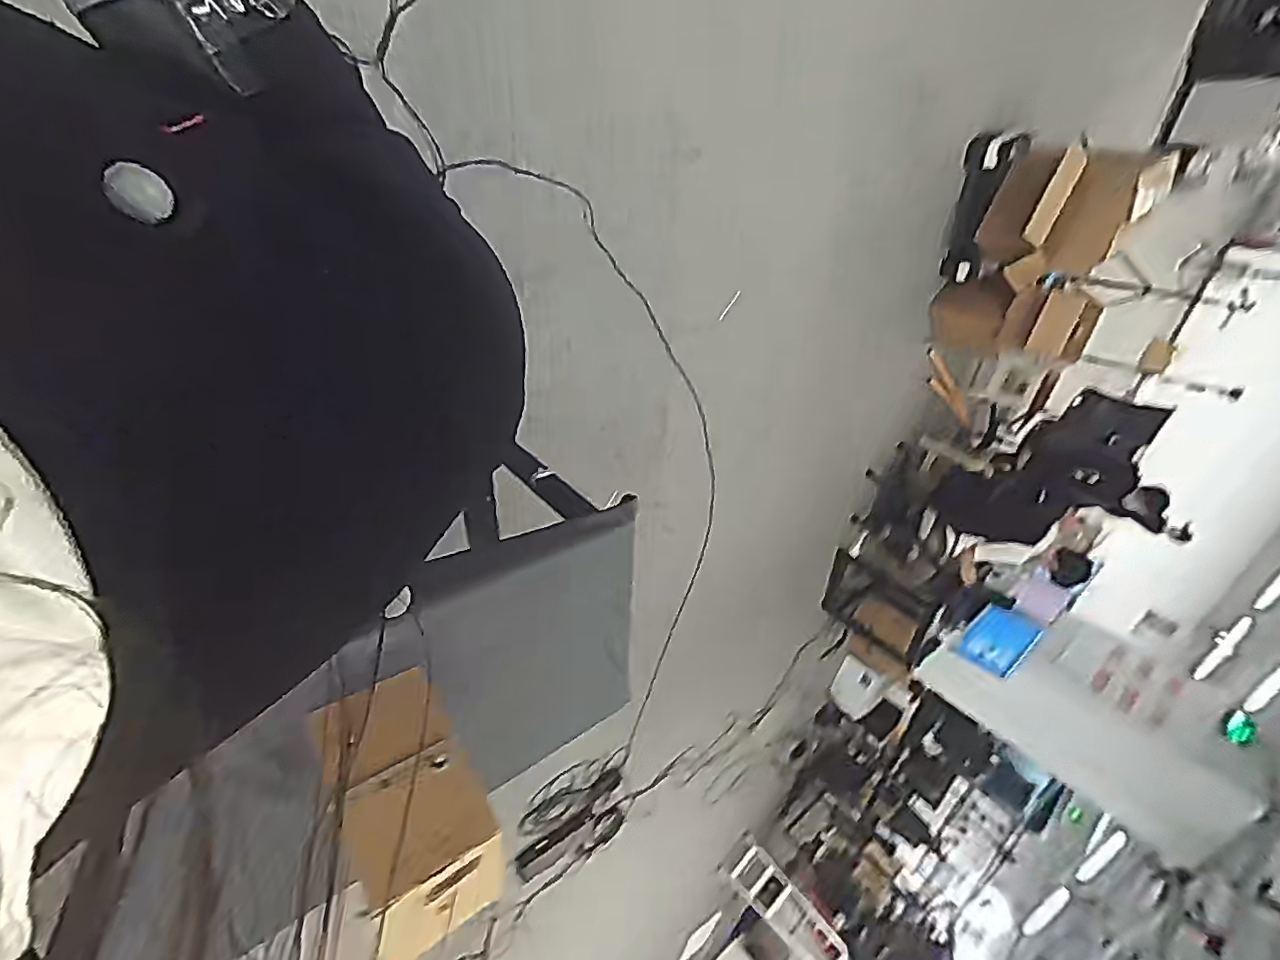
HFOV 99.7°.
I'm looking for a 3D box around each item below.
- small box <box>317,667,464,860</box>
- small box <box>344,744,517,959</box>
[{"bbox_3d":[-0.394,0.440,0.863,0.179,0.176,0.168,-19,129,-36],"label":"small box"},{"bbox_3d":[-0.290,0.507,0.755,0.168,0.176,0.179,-21,128,-33],"label":"small box"}]
